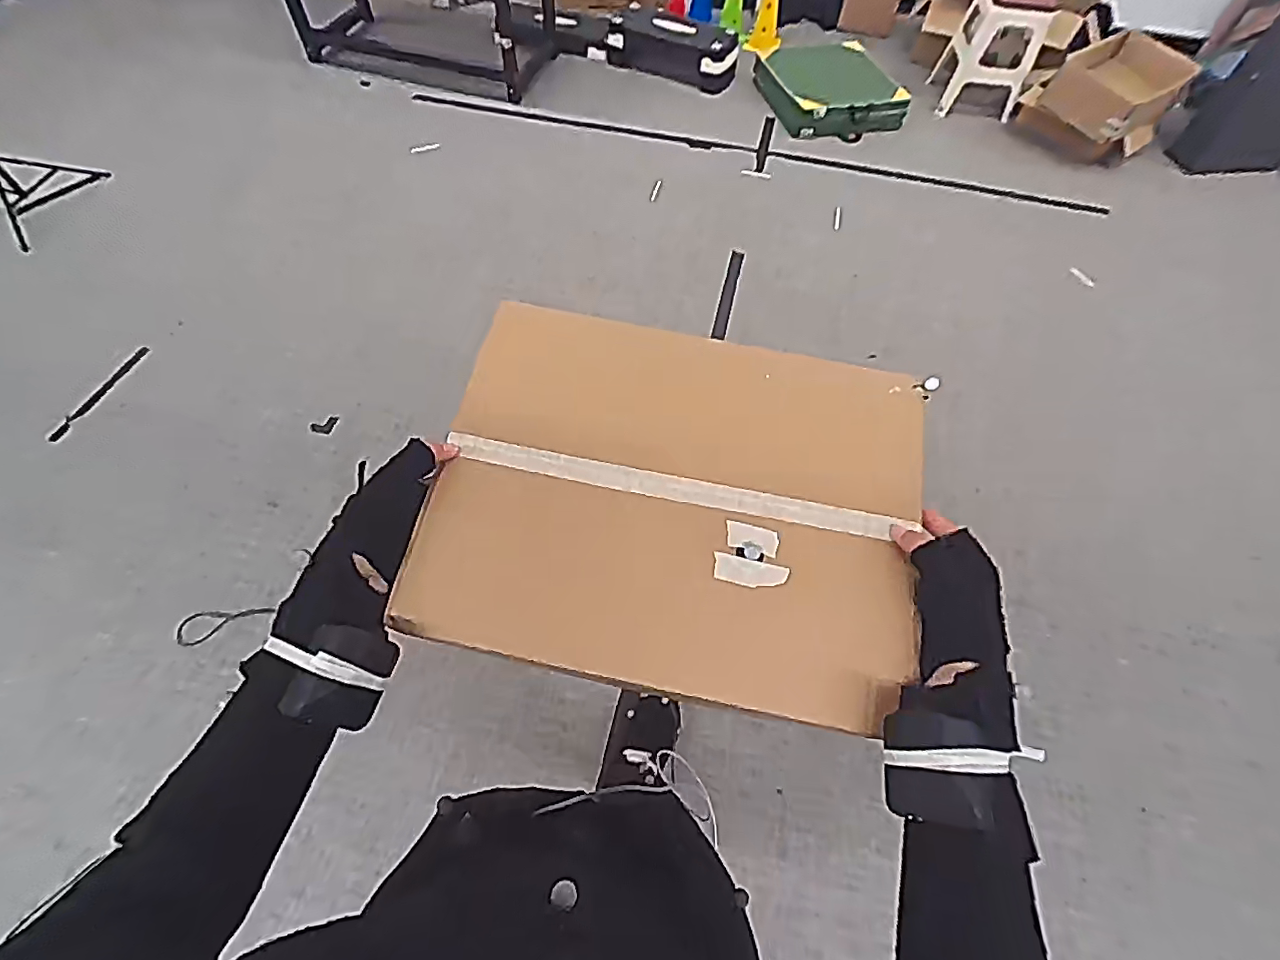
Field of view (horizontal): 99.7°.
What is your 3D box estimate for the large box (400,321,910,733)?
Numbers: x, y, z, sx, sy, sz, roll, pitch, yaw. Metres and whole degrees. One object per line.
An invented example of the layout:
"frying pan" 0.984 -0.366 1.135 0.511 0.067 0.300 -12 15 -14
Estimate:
"large box" 0.026 0.071 0.605 0.408 0.320 0.320 11 69 2
